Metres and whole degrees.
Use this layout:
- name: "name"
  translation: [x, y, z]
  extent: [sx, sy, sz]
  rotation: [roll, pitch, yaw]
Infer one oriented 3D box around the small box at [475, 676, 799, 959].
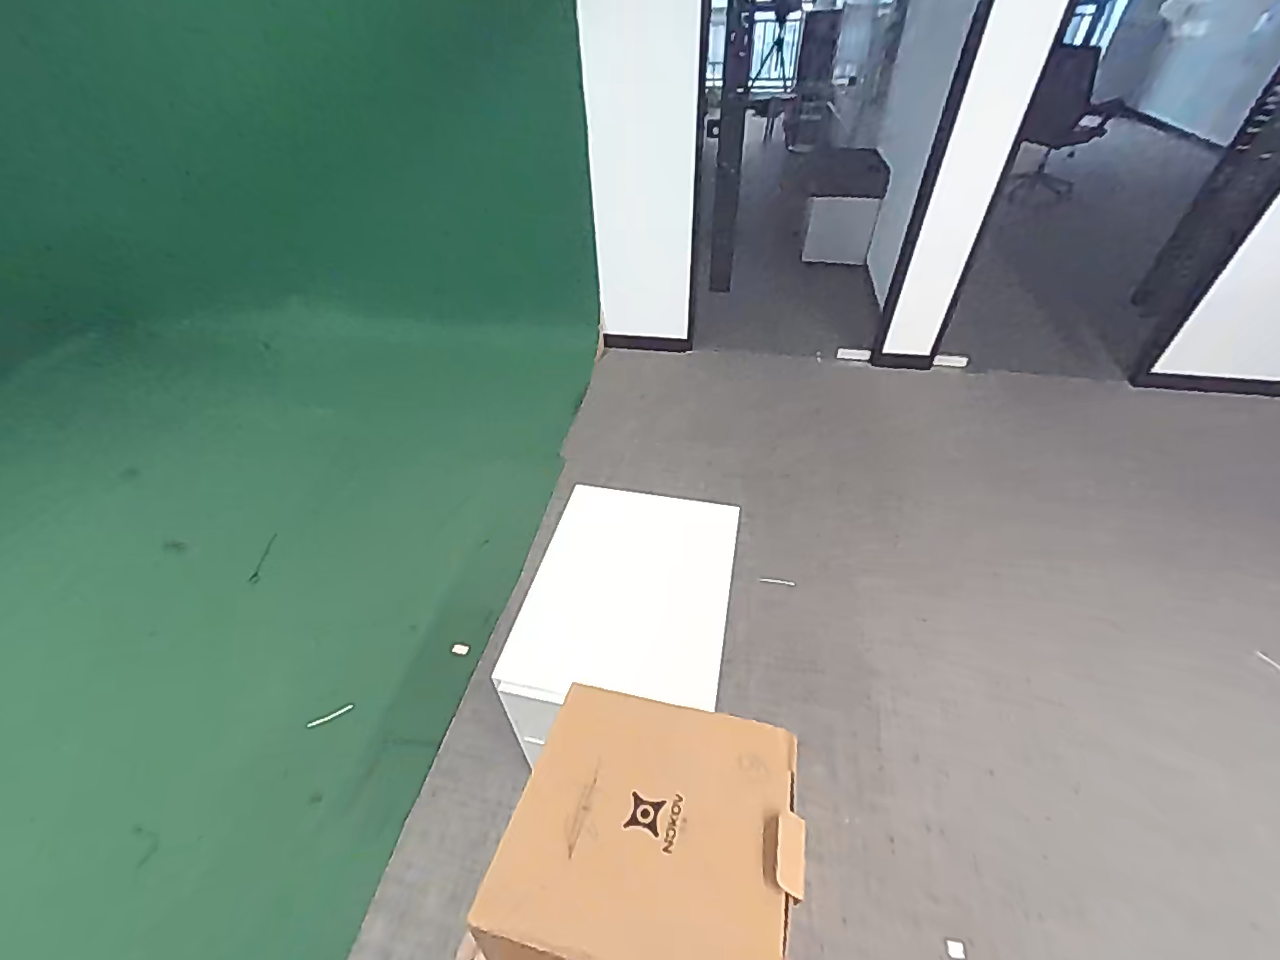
- name: "small box"
  translation: [0.014, 0.277, 0.392]
  extent: [0.179, 0.176, 0.168]
  rotation: [5, 33, 15]
